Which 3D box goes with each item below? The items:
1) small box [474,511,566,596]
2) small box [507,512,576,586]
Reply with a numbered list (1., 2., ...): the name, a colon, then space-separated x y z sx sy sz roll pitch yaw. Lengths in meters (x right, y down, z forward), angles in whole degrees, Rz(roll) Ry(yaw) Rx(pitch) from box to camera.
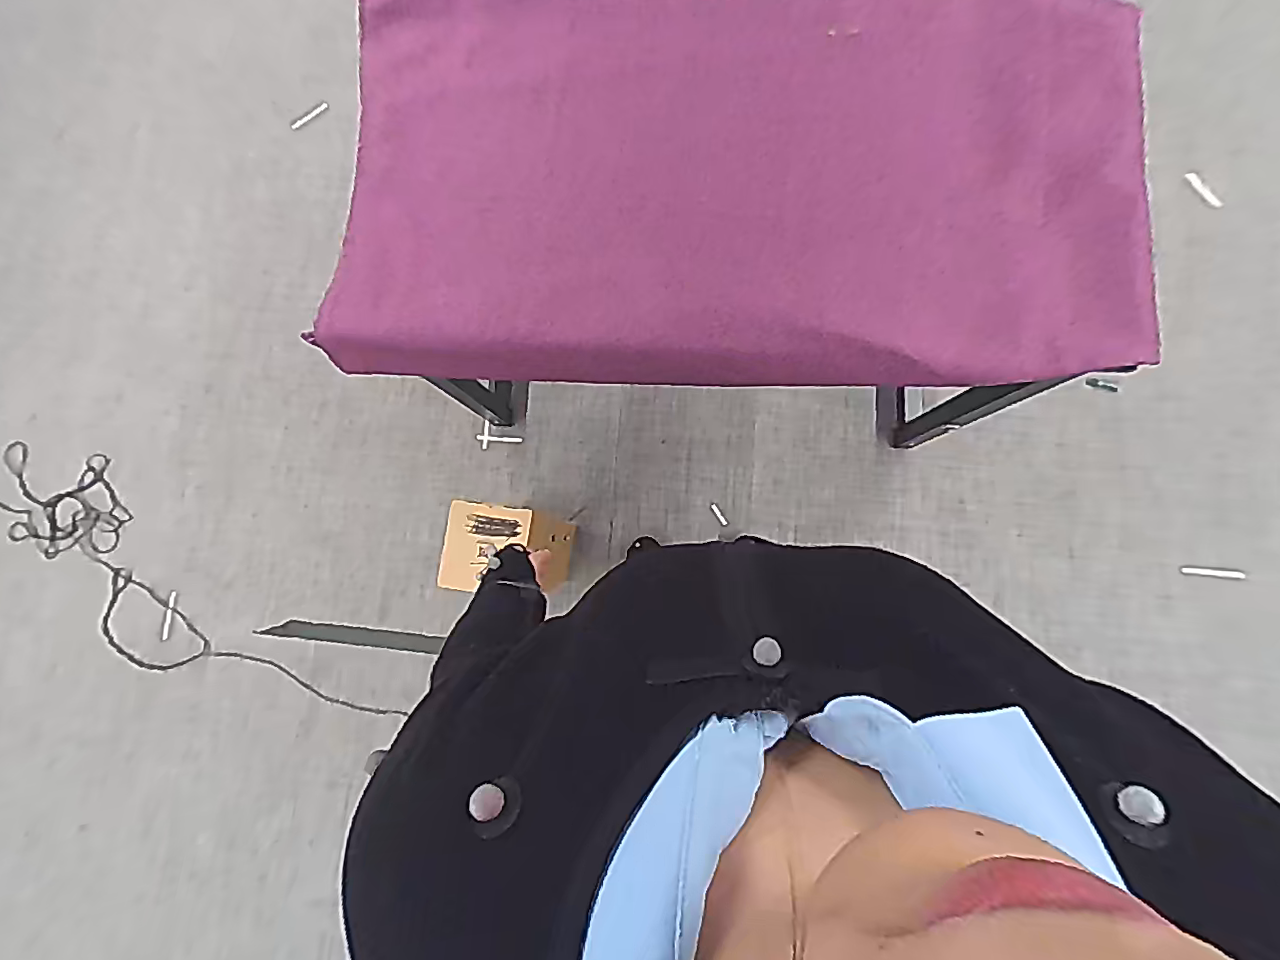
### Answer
1. small box: -0.278 0.174 1.289 0.168 0.176 0.179 5 83 4
2. small box: -0.276 0.190 1.453 0.168 0.176 0.179 10 83 4
